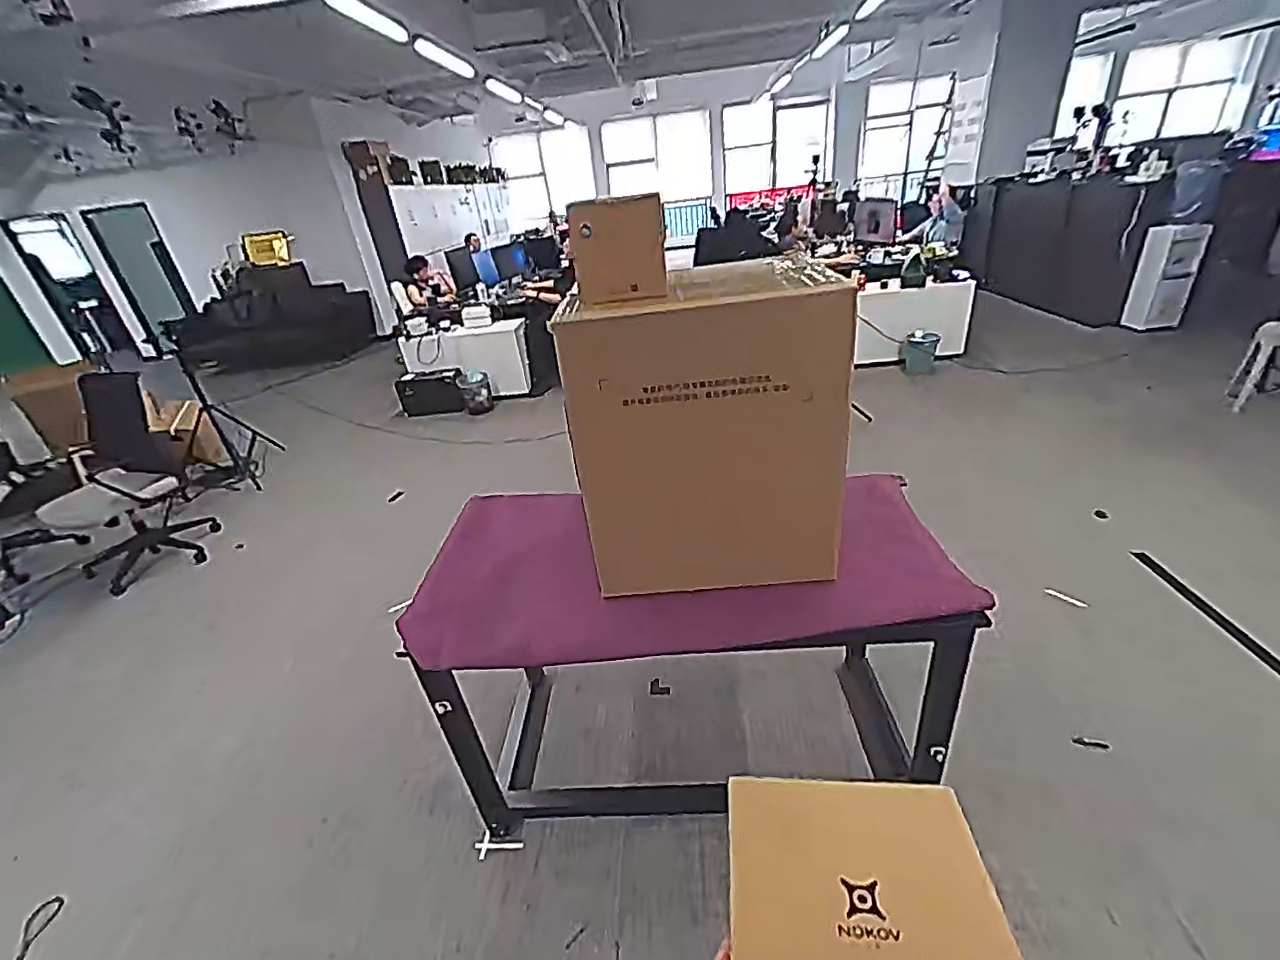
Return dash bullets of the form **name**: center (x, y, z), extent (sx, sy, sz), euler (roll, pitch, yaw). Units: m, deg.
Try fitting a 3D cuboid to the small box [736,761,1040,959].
- **small box**: center (0.151, 0.328, 0.368), extent (0.168, 0.176, 0.179), euler (-2, 23, 9)
